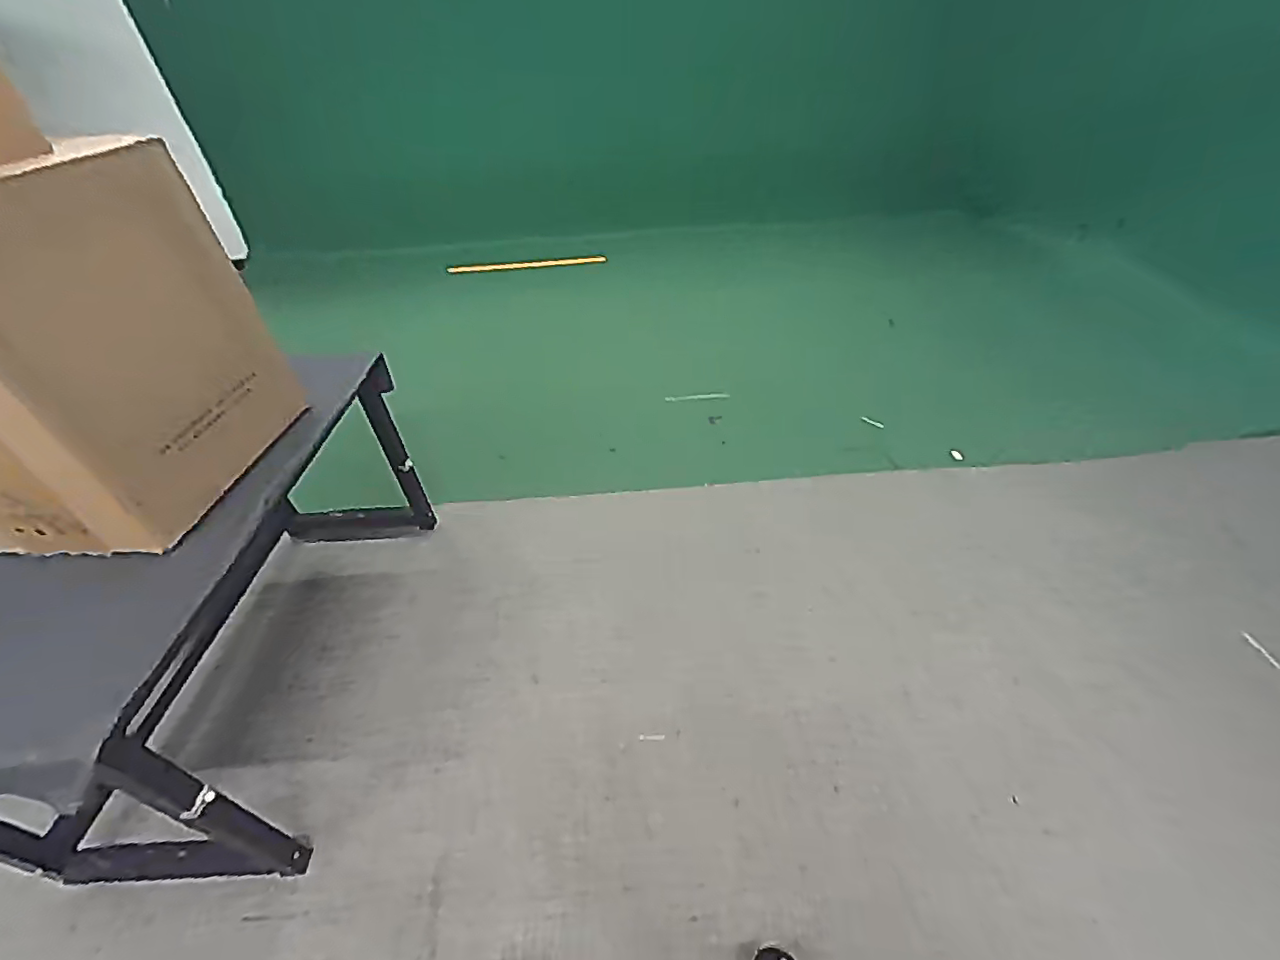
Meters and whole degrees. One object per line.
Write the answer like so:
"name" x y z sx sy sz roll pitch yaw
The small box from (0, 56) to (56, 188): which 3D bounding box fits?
"small box" -1.069 -0.544 0.821 0.168 0.176 0.179 3 41 5
